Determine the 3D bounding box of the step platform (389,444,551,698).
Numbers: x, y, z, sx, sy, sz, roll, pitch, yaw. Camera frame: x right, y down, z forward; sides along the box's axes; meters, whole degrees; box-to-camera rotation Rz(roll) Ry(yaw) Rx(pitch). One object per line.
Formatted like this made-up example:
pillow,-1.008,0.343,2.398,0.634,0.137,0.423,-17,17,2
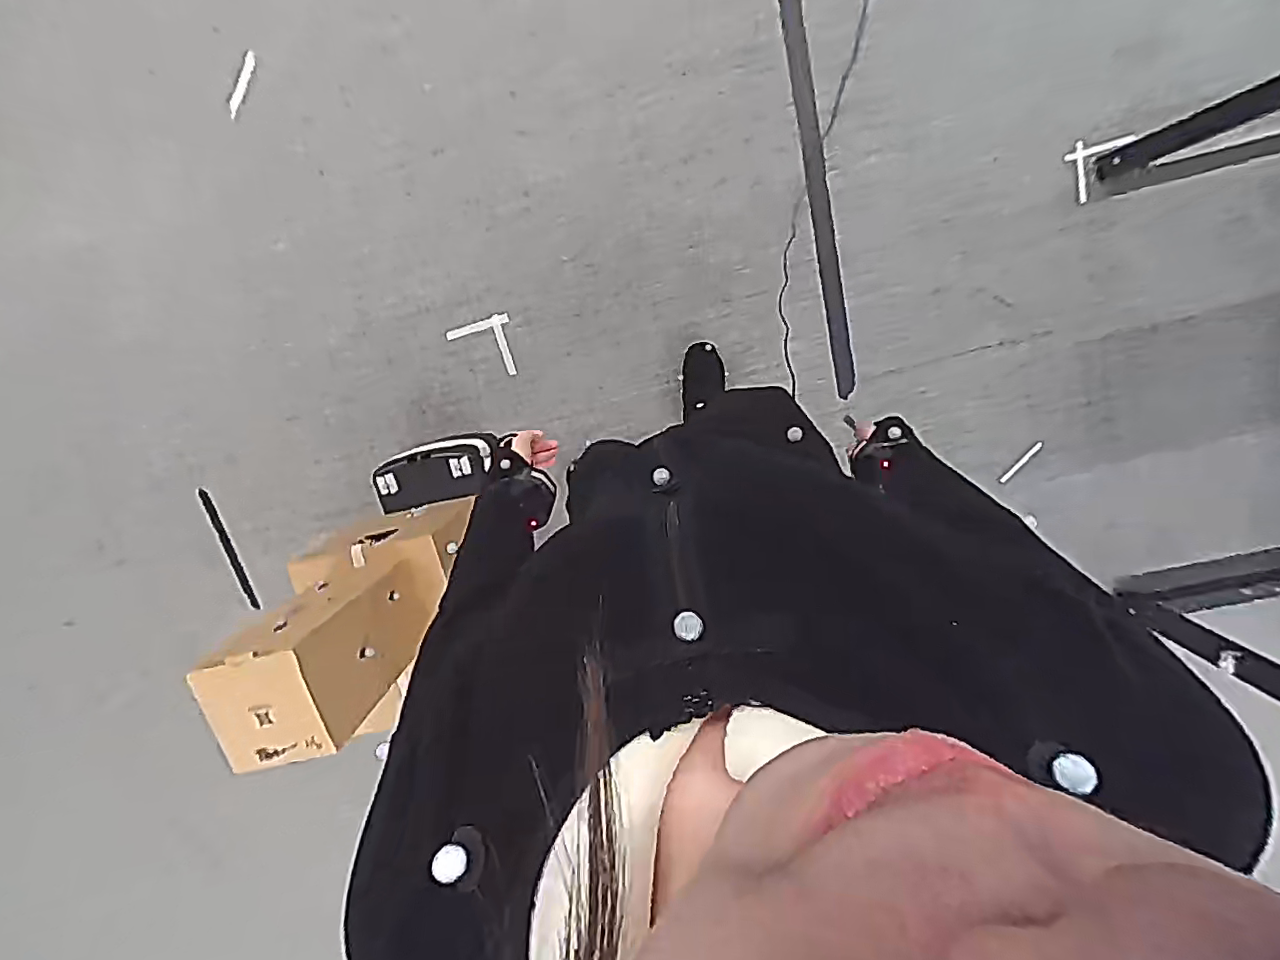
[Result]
step platform,-0.447,0.256,1.475,0.286,0.204,0.684,-7,104,4

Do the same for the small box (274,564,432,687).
small box,-0.509,0.266,0.985,0.168,0.176,0.179,-12,103,5

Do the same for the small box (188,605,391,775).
small box,-0.517,0.307,0.826,0.168,0.176,0.179,-13,102,6

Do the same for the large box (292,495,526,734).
large box,-0.491,0.288,1.240,0.320,0.320,0.408,-12,103,6
